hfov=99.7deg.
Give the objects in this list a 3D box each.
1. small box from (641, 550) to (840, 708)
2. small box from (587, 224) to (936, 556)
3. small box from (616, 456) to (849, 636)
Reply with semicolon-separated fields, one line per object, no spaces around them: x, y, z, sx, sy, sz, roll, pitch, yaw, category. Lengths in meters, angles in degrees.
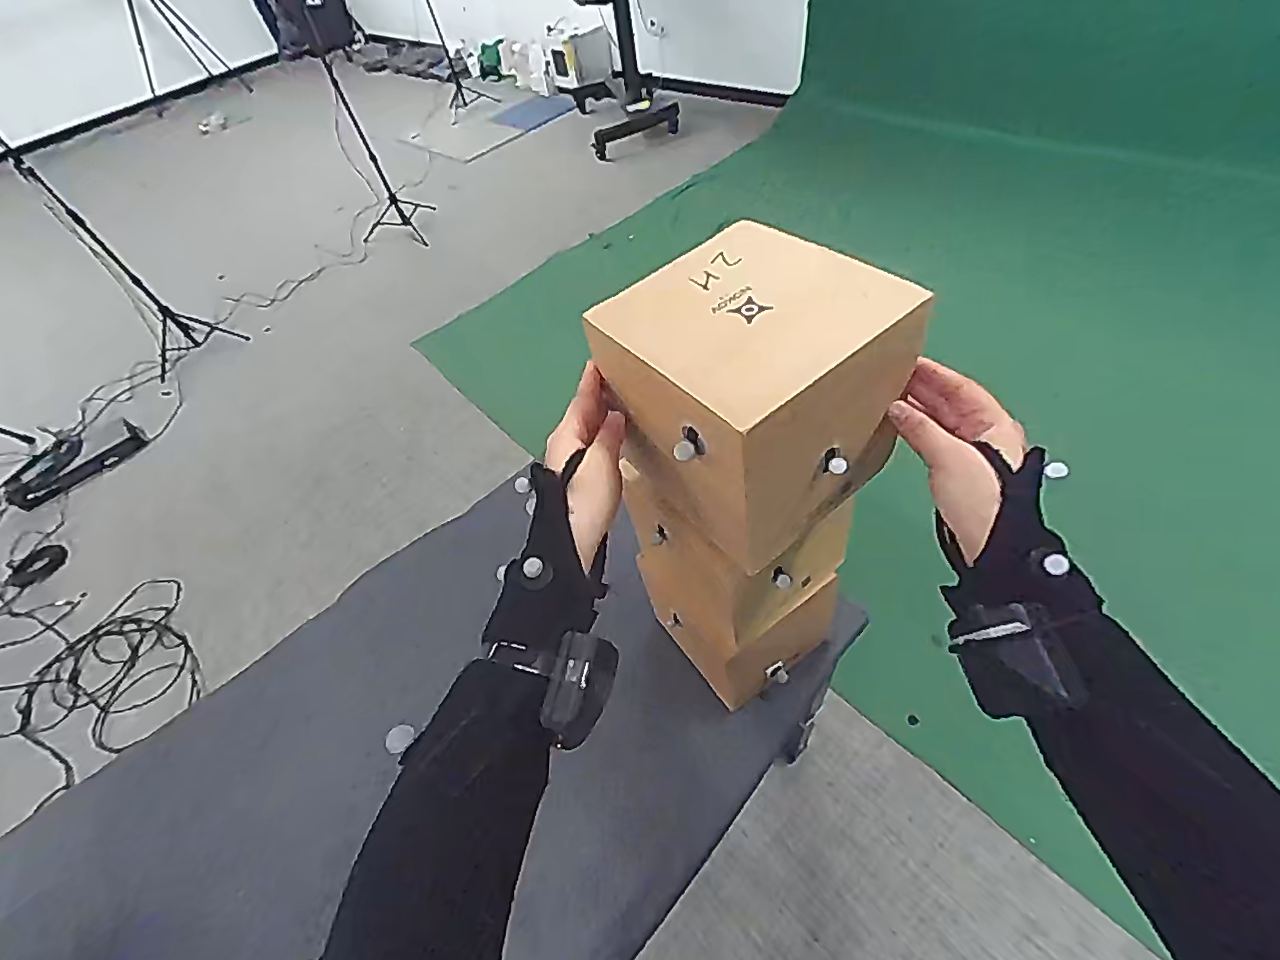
0.126;0.153;0.690;0.168;0.176;0.179;-33;51;-13;small box
0.088;-0.064;0.427;0.168;0.176;0.179;-35;51;-15;small box
0.104;0.040;0.574;0.168;0.176;0.179;-35;49;-15;small box
